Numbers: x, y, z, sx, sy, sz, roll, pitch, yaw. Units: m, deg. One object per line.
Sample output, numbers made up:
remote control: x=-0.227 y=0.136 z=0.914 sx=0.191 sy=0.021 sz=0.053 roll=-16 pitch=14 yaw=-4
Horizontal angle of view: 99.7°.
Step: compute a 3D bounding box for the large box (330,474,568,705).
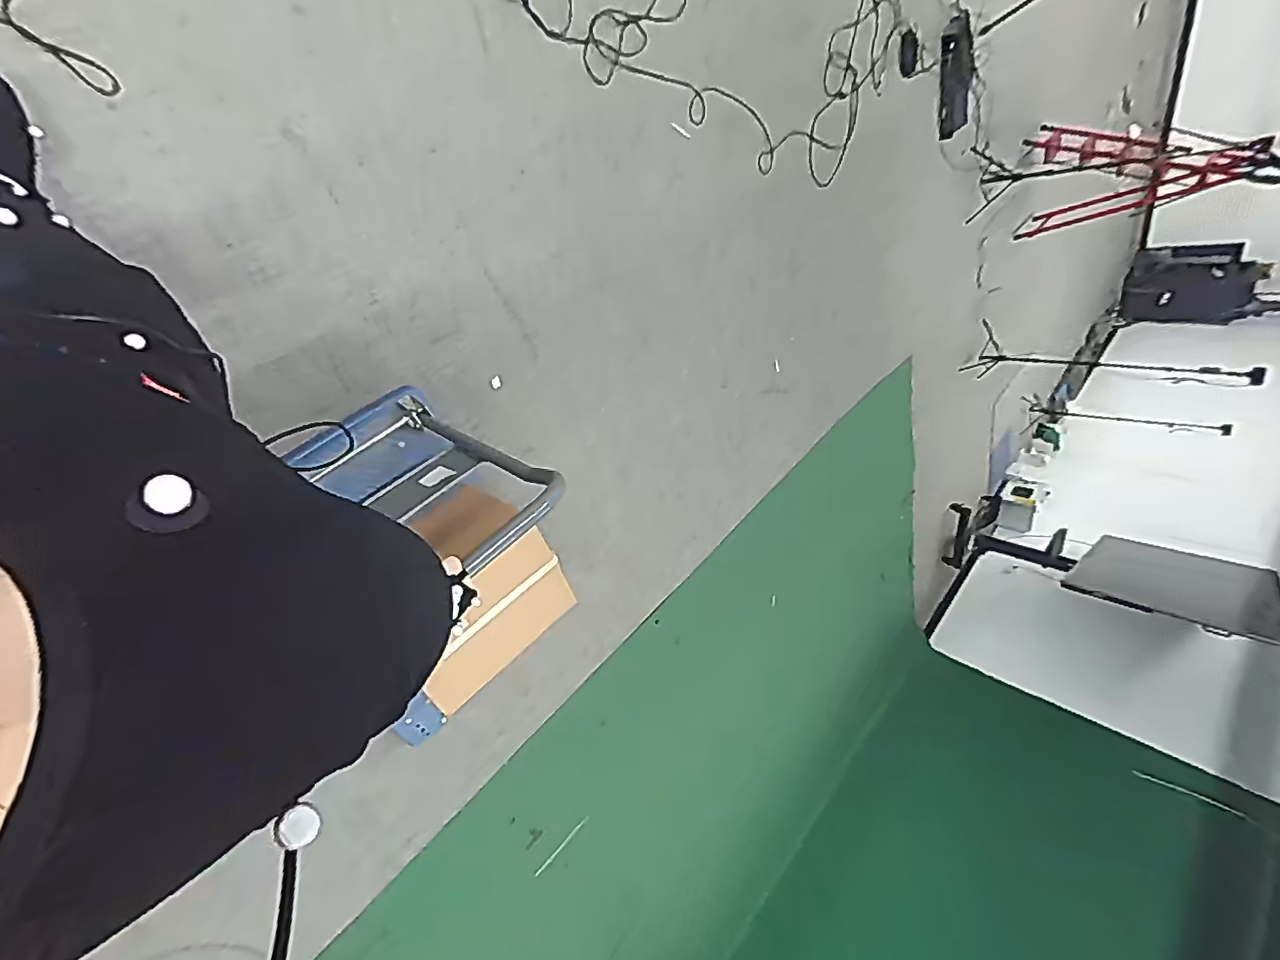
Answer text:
large box: x=-0.463 y=0.246 z=1.343 sx=0.408 sy=0.320 sz=0.320 roll=-39 pitch=126 yaw=-26
